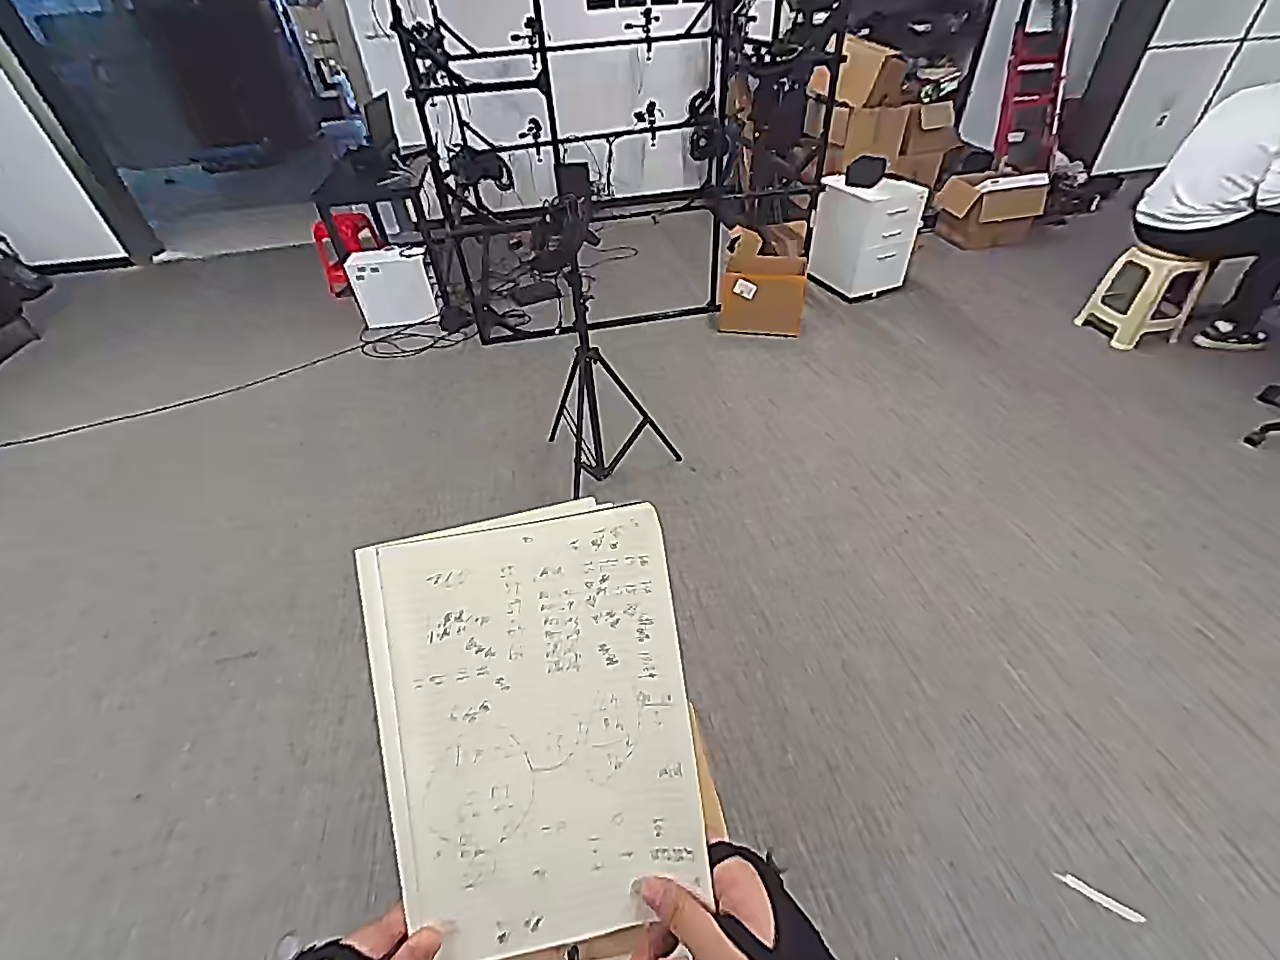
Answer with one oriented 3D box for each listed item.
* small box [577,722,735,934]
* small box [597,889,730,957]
[{"bbox_3d":[0.011,0.448,0.701,0.168,0.176,0.179,-8,43,-8],"label":"small box"},{"bbox_3d":[0.018,0.574,0.806,0.179,0.176,0.168,-11,43,-9],"label":"small box"}]
